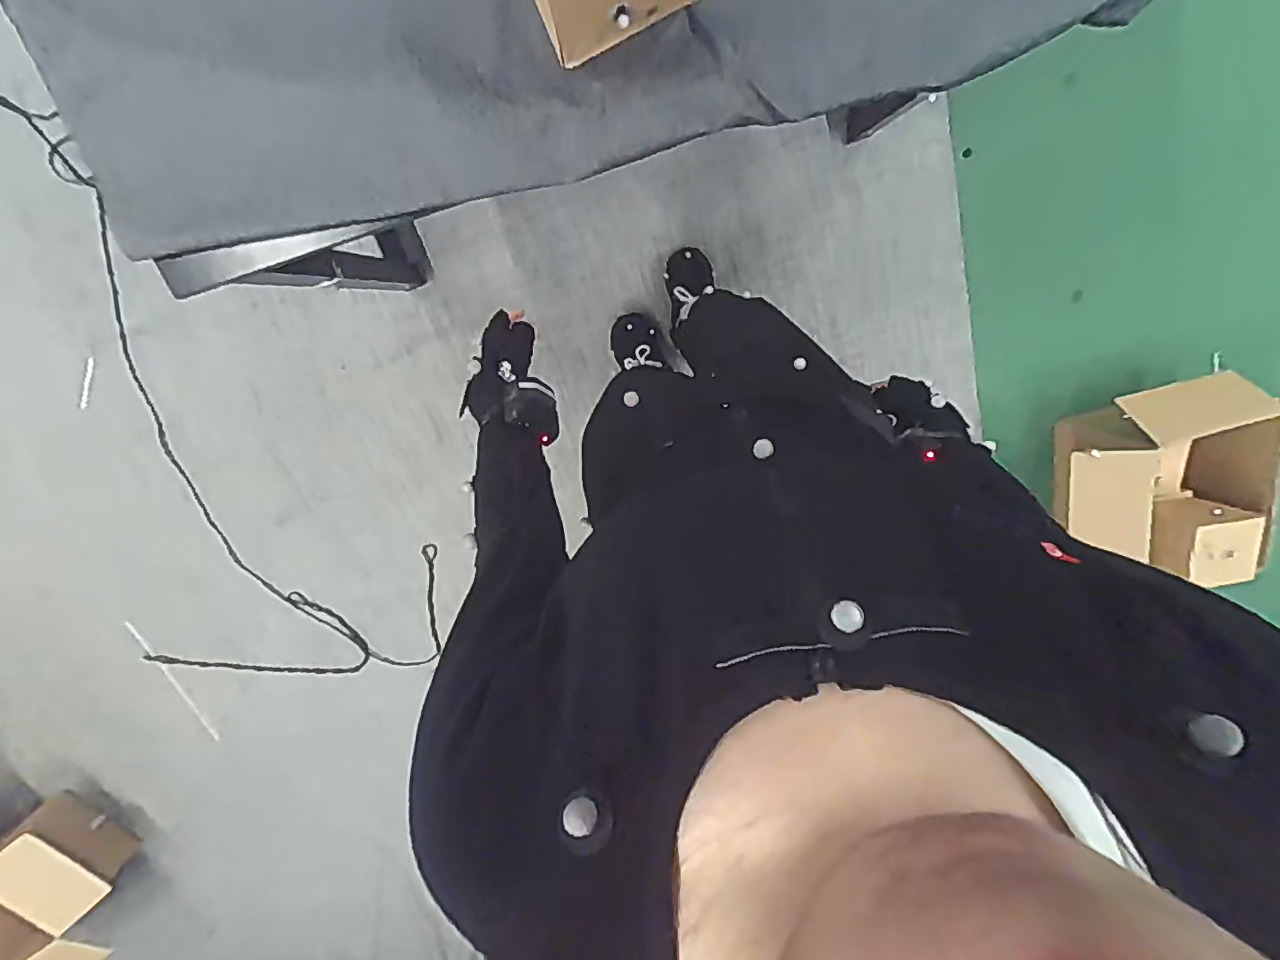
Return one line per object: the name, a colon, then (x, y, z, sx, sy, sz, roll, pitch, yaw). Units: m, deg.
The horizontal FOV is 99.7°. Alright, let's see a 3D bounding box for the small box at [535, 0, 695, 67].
small box: (-0.040, -0.530, 0.486, 0.168, 0.176, 0.179, -25, 108, 5)
